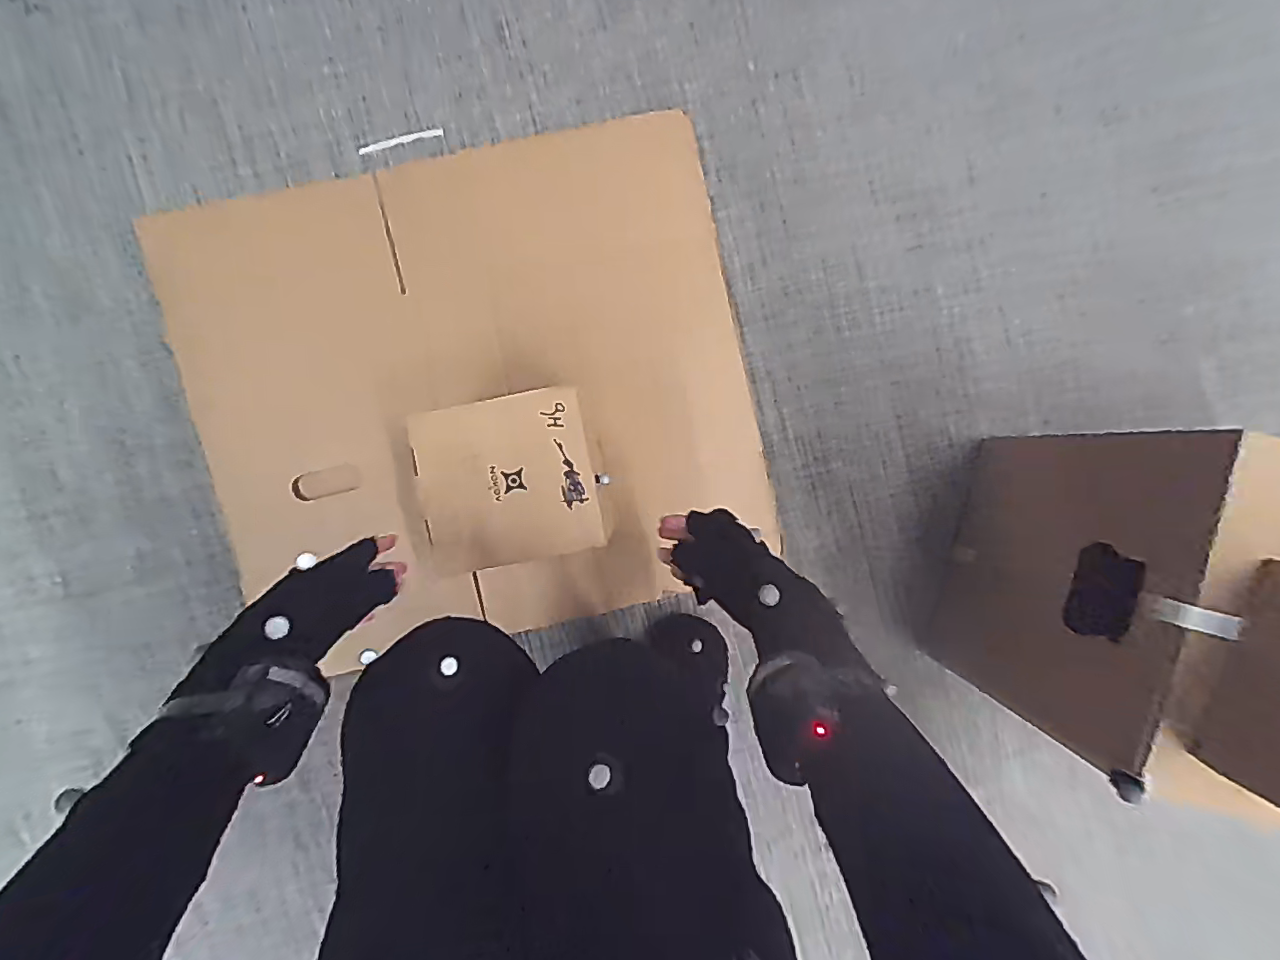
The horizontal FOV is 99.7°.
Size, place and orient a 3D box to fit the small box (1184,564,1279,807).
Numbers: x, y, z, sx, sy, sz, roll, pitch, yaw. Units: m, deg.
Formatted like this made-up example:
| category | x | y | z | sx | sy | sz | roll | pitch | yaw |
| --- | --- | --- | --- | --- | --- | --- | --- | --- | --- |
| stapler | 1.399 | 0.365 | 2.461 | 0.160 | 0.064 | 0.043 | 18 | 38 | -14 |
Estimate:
| category | x | y | z | sx | sy | sz | roll | pitch | yaw |
| --- | --- | --- | --- | --- | --- | --- | --- | --- | --- |
| small box | 0.544 | 0.172 | 0.367 | 0.168 | 0.176 | 0.179 | 17 | 94 | -2 |

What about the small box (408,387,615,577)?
| category | x | y | z | sx | sy | sz | roll | pitch | yaw |
| --- | --- | --- | --- | --- | --- | --- | --- | --- | --- |
| small box | -0.134 | 0.002 | 0.630 | 0.179 | 0.176 | 0.168 | -14 | 91 | 1 |
